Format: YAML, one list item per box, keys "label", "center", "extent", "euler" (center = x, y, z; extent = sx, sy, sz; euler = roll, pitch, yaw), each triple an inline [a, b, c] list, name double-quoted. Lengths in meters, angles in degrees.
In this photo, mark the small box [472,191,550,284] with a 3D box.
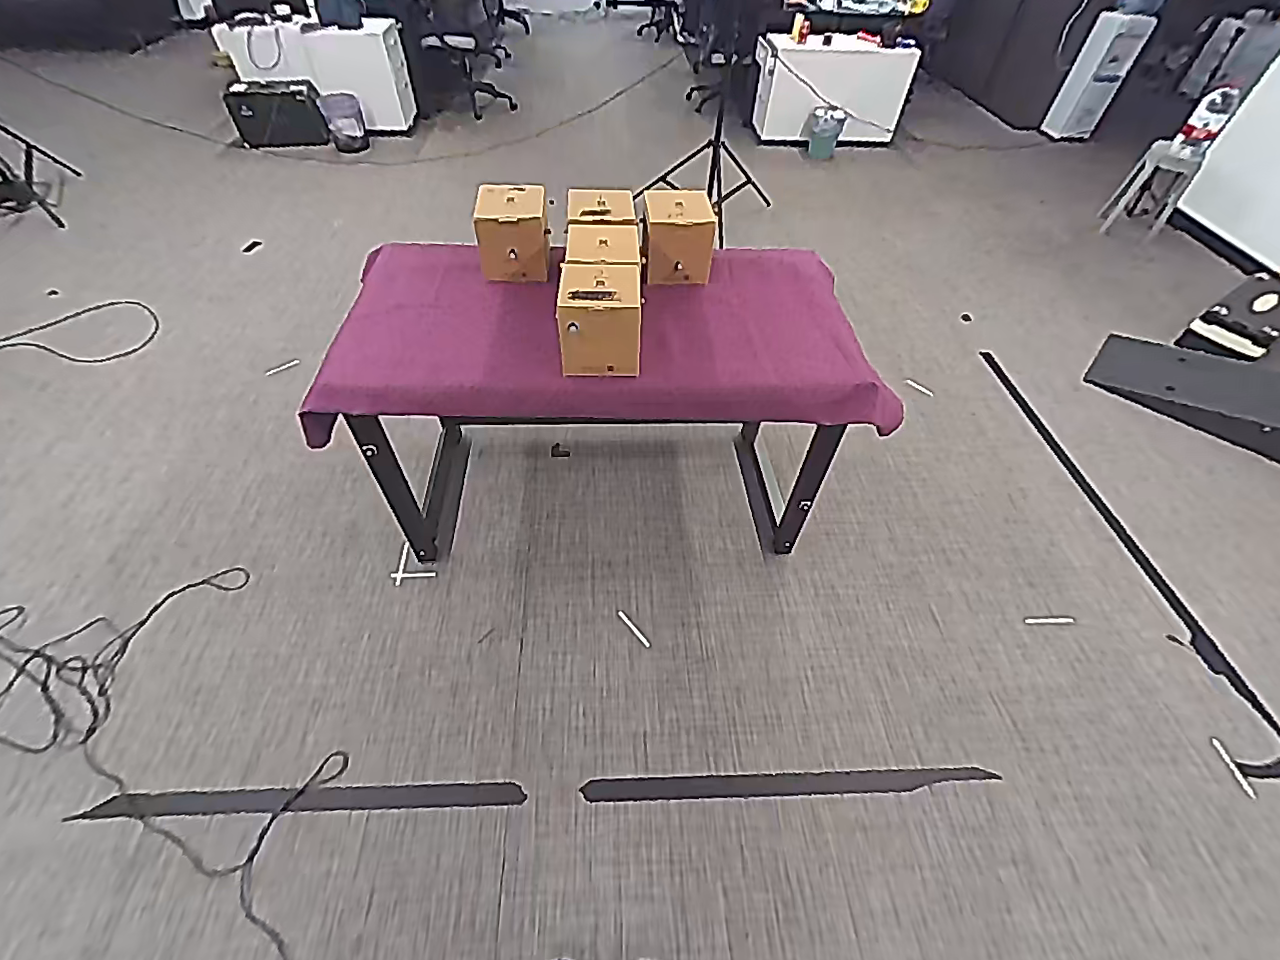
- label: "small box"
  center: [-0.325, -0.625, 1.402]
  extent: [0.168, 0.176, 0.179]
  euler: [-2, 52, -4]
